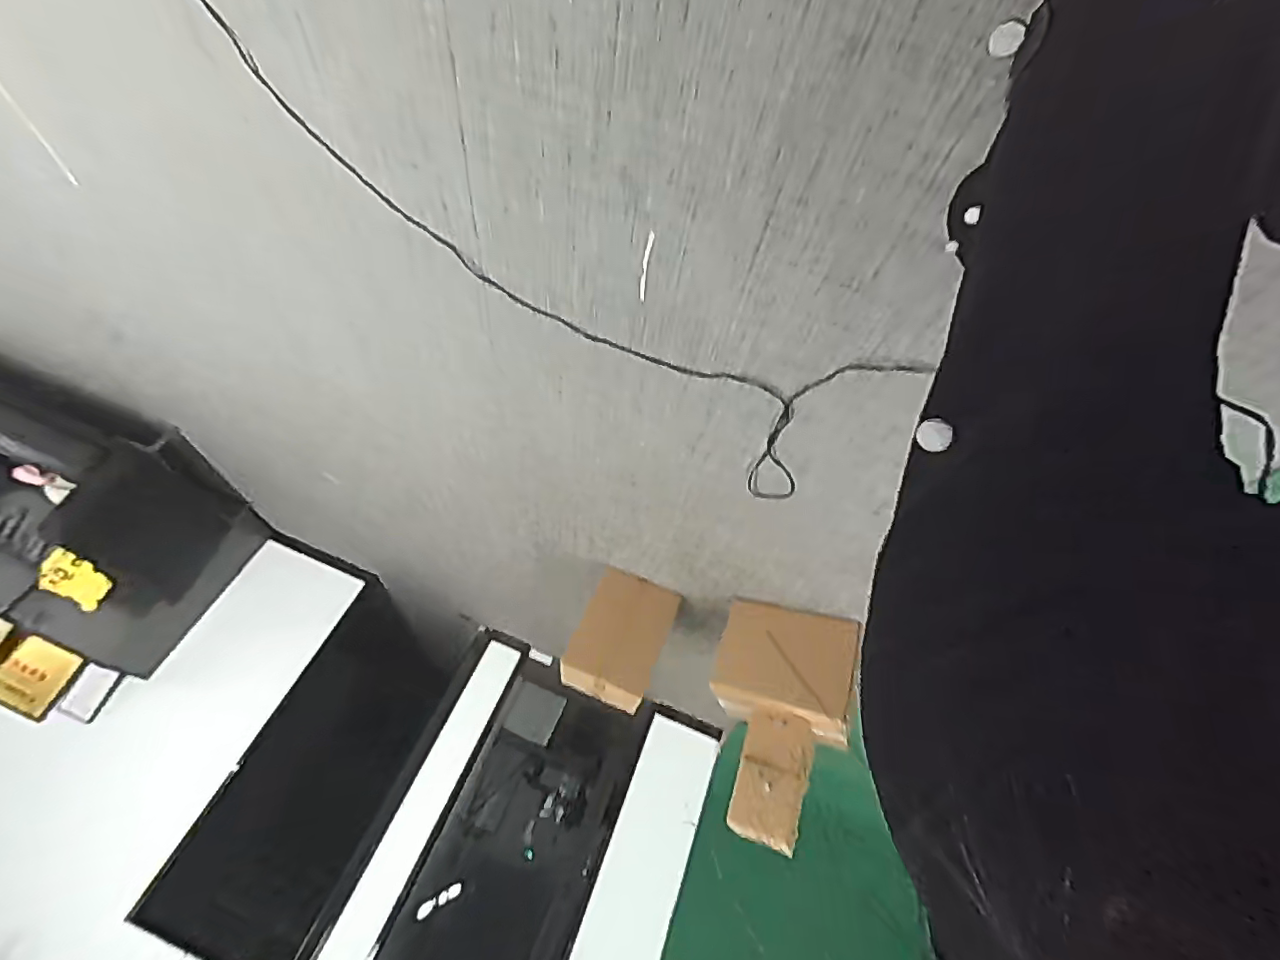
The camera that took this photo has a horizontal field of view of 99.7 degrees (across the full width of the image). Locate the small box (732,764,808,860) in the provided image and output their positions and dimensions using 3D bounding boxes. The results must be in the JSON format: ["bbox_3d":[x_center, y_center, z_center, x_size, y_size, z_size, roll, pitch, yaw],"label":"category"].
[{"bbox_3d":[0.374,0.937,1.530,0.168,0.176,0.179,6,142,28],"label":"small box"}]

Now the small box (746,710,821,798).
[{"bbox_3d":[0.438,0.820,1.626,0.168,0.176,0.179,2,141,32],"label":"small box"}]
